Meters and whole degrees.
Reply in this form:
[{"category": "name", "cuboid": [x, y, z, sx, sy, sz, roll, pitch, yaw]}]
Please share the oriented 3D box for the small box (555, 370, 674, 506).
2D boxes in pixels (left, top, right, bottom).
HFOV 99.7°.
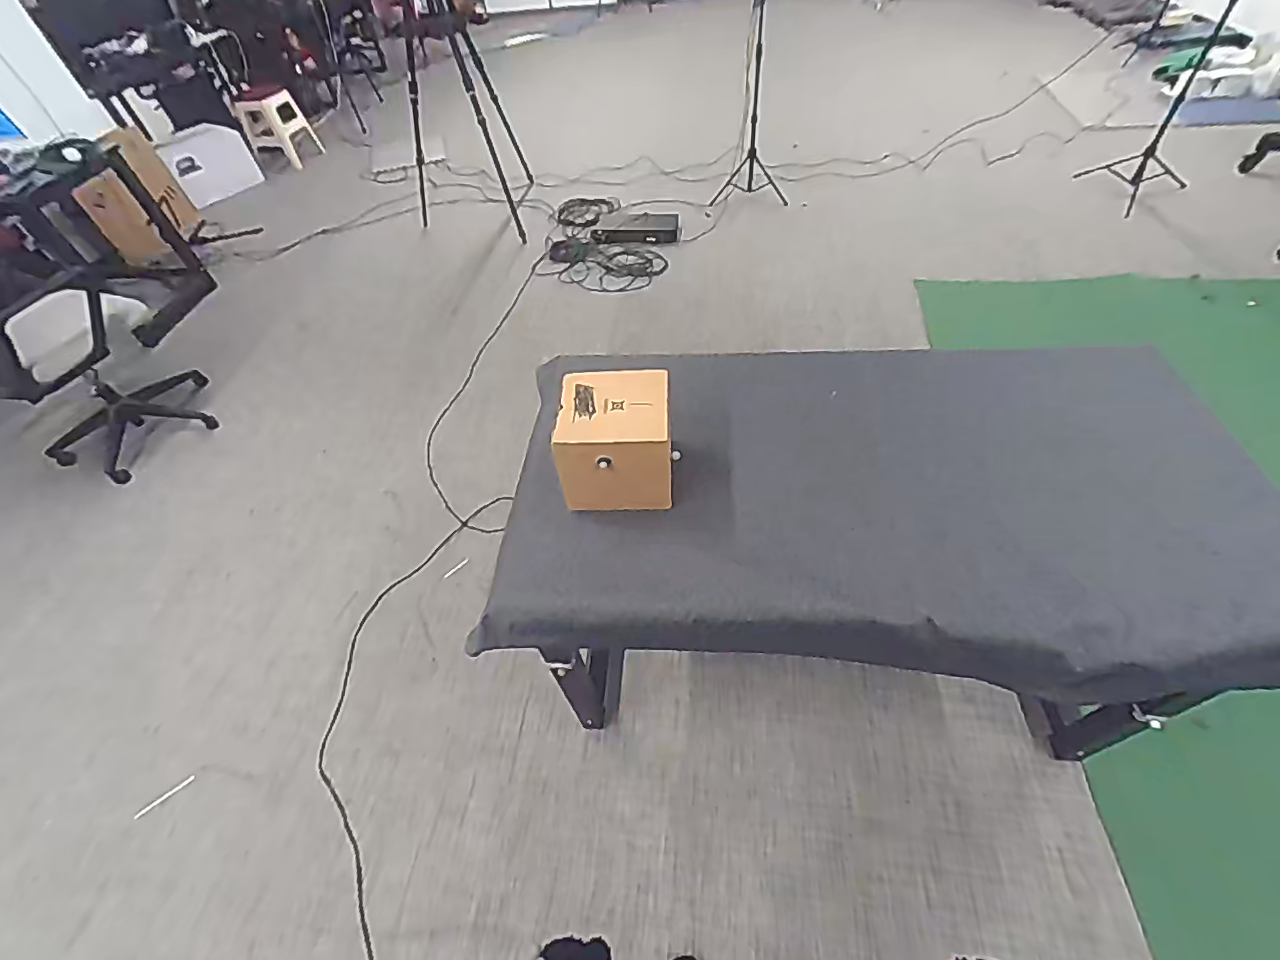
[{"category": "small box", "cuboid": [-0.032, -0.067, 0.916, 0.179, 0.176, 0.168, -1, 50, 4]}]
